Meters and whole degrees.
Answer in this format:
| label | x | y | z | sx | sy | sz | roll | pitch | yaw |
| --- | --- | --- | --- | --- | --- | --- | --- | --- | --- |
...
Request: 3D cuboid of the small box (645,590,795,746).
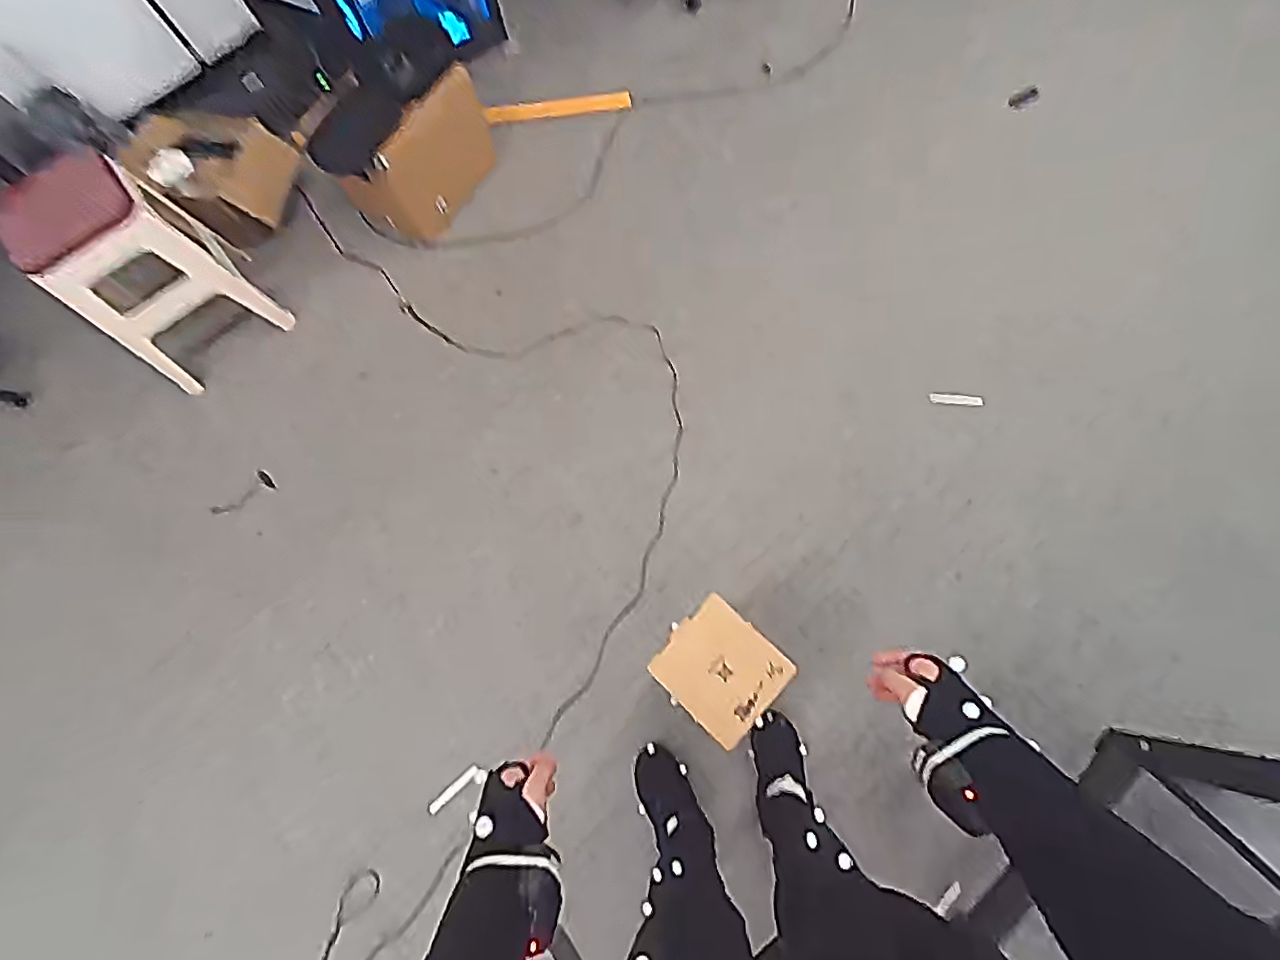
| label | x | y | z | sx | sy | sz | roll | pitch | yaw |
| --- | --- | --- | --- | --- | --- | --- | --- | --- | --- |
| small box | 0.128 | 0.314 | 0.917 | 0.179 | 0.176 | 0.168 | 42 | 80 | 15 |
